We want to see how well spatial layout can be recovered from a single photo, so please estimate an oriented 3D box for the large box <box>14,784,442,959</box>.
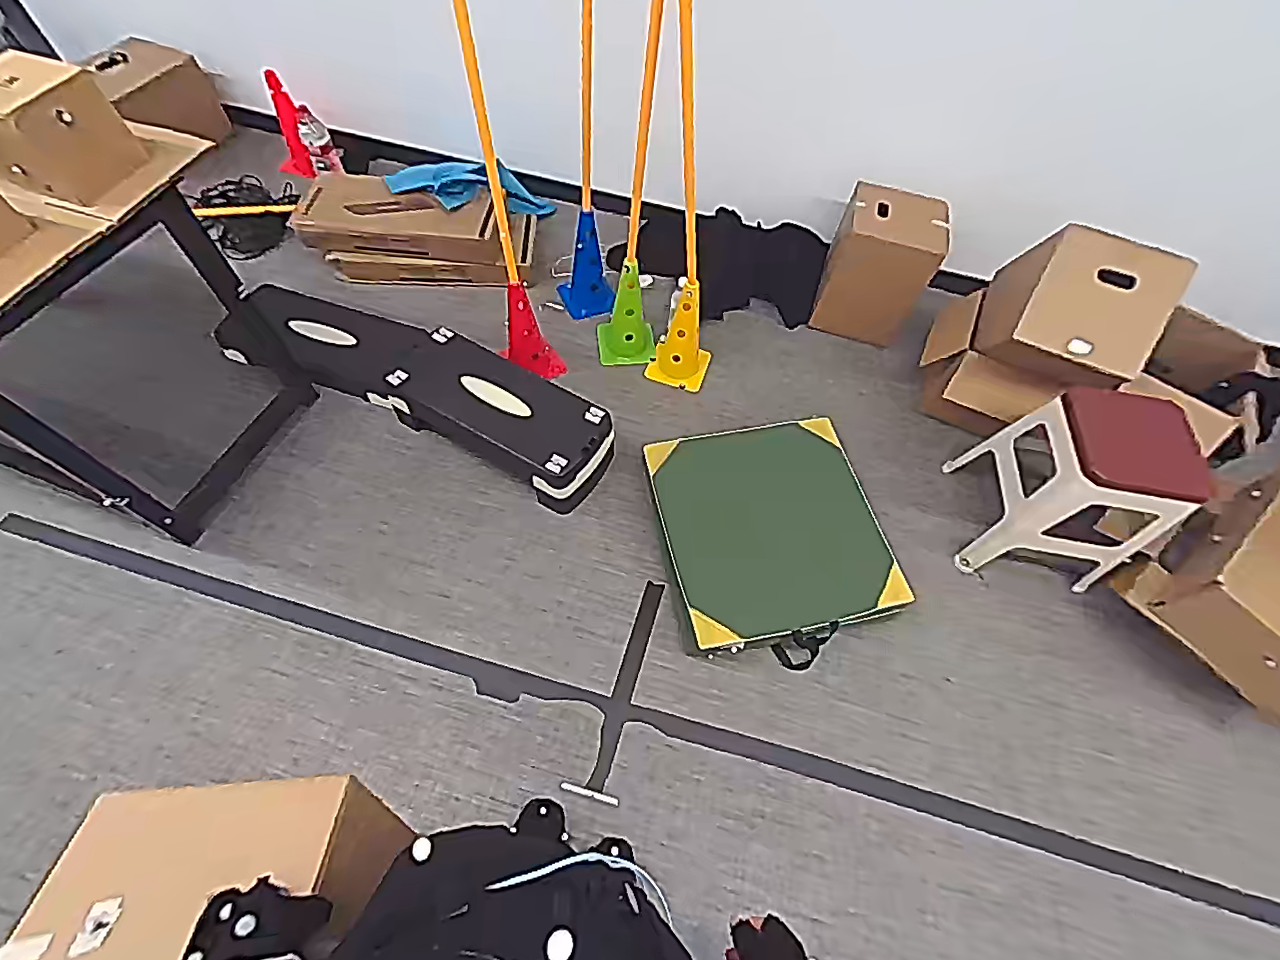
[{"bbox_3d":[-0.497,0.625,0.689,0.320,0.408,0.320,-2,42,1],"label":"large box"}]
